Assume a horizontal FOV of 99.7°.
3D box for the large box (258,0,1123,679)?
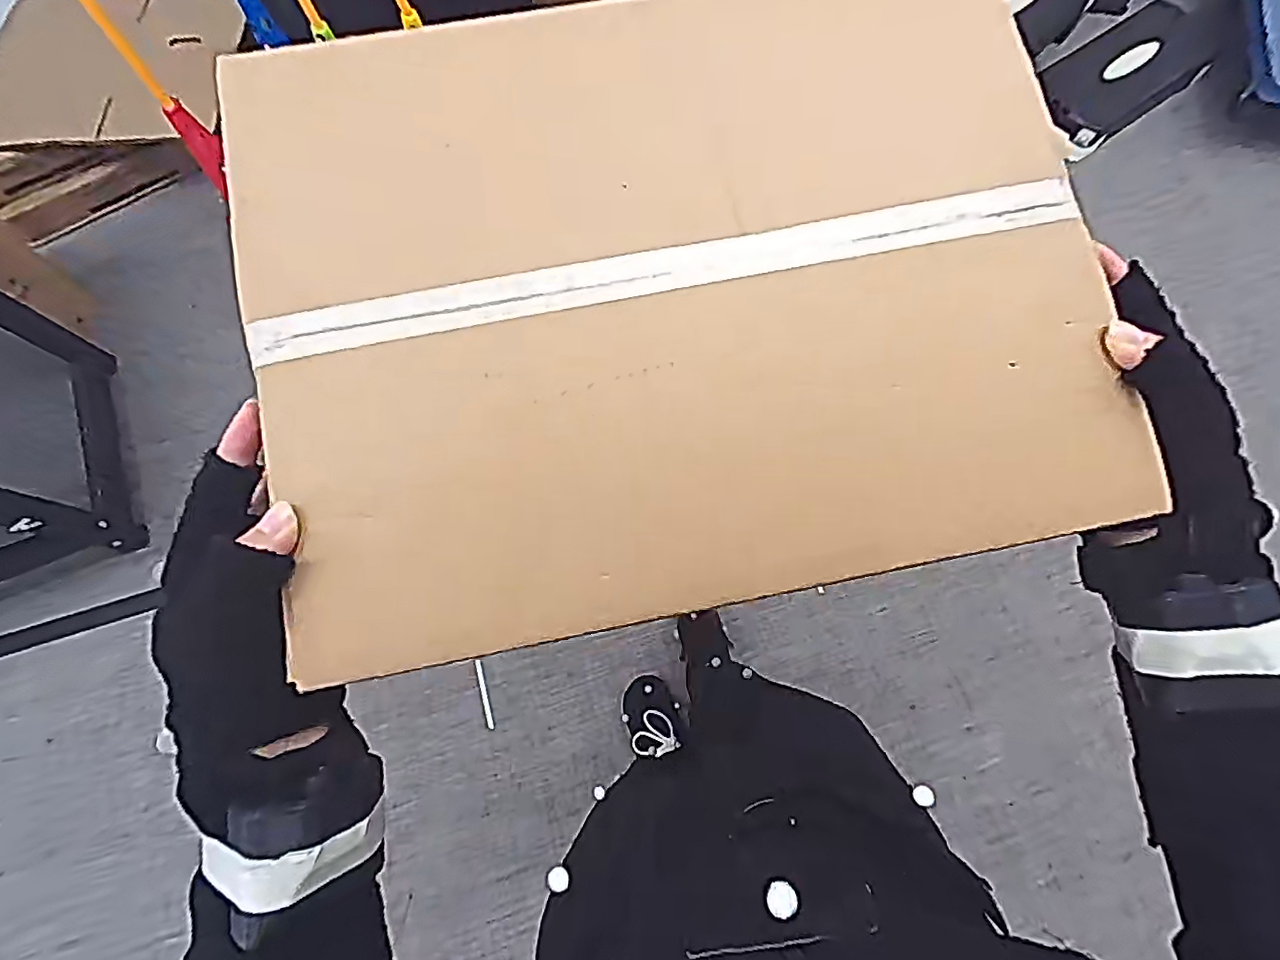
[{"bbox_3d":[0.013,-0.072,0.426,0.408,0.320,0.320,-11,83,-3],"label":"large box"}]
